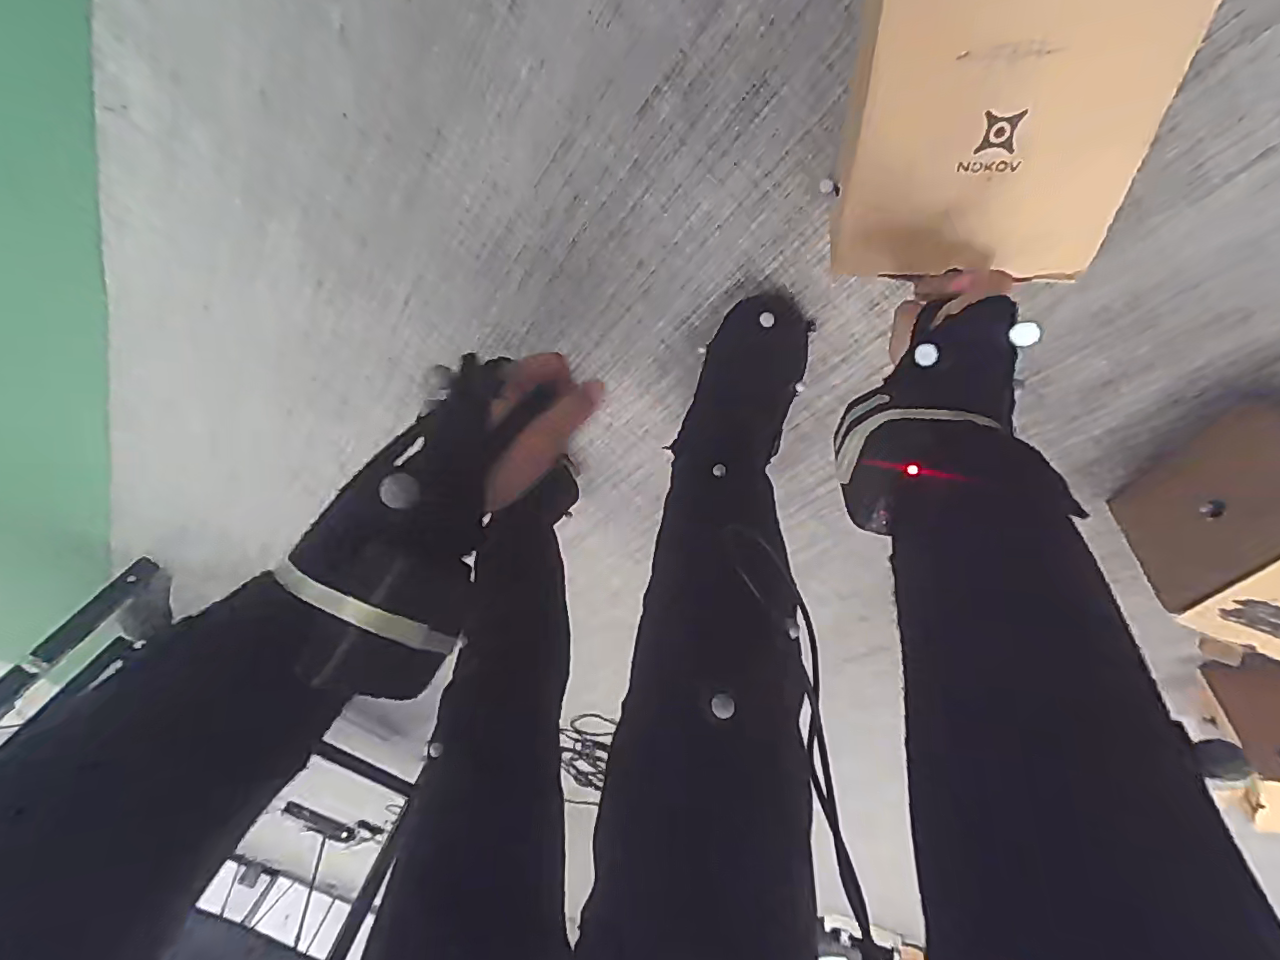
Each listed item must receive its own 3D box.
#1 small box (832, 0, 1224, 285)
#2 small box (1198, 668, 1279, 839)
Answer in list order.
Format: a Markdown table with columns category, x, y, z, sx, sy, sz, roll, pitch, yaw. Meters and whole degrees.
| category | x | y | z | sx | sy | sz | roll | pitch | yaw |
| --- | --- | --- | --- | --- | --- | --- | --- | --- | --- |
| small box | 0.237 | -0.259 | 0.386 | 0.168 | 0.176 | 0.179 | 6 | 132 | 12 |
| small box | 0.917 | 0.369 | 0.733 | 0.179 | 0.176 | 0.168 | -15 | 125 | 30 |
